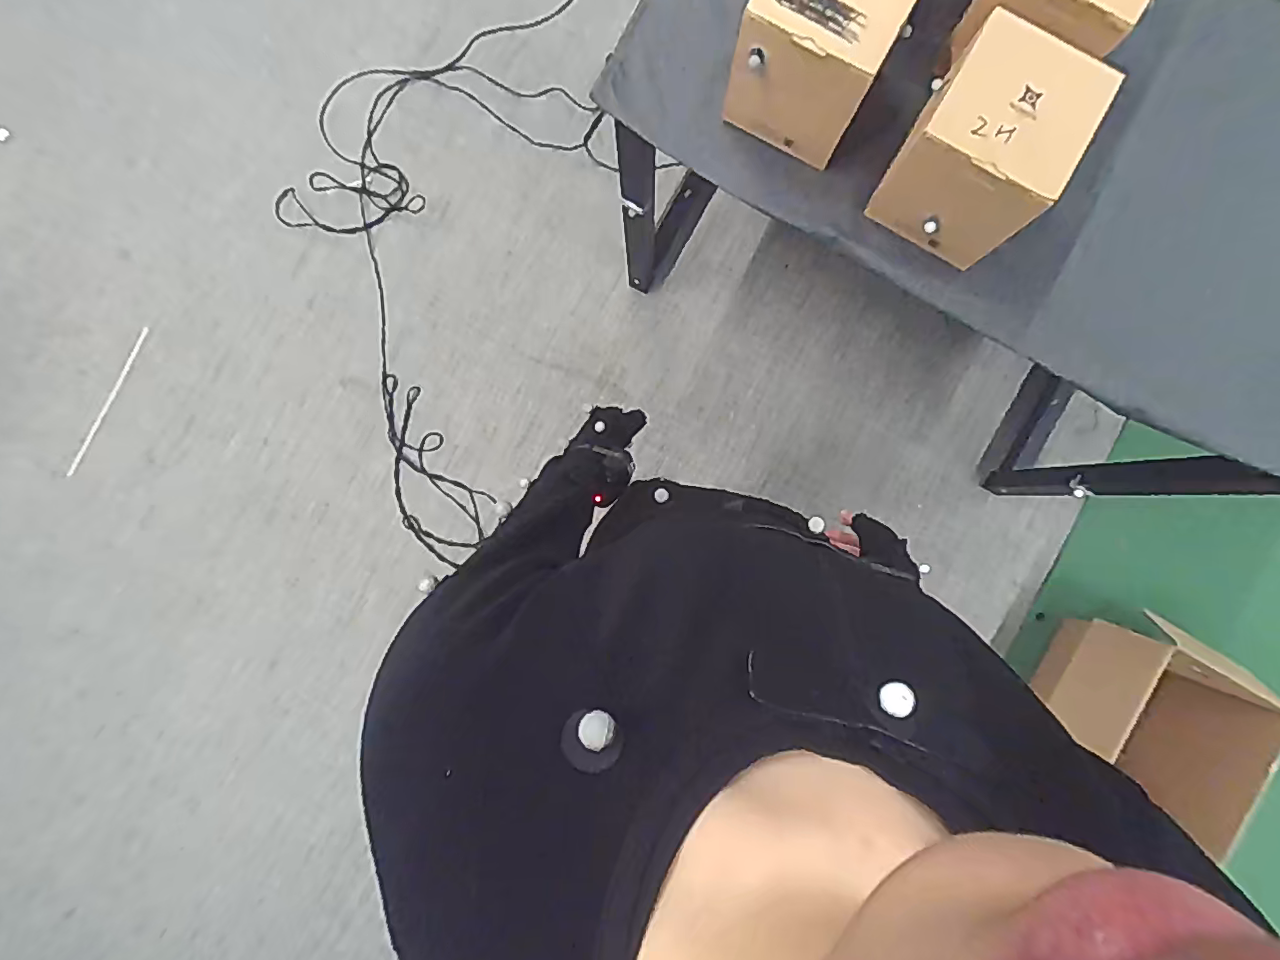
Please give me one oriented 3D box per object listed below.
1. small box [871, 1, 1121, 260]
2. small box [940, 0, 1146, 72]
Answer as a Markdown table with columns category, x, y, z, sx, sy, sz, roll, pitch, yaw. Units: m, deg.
| category | x | y | z | sx | sy | sz | roll | pitch | yaw |
| --- | --- | --- | --- | --- | --- | --- | --- | --- | --- |
| small box | 0.425 | -0.419 | 0.680 | 0.168 | 0.176 | 0.179 | 30 | 88 | 1 |
| small box | 0.527 | -0.625 | 0.688 | 0.168 | 0.176 | 0.179 | 31 | 90 | 1 |
